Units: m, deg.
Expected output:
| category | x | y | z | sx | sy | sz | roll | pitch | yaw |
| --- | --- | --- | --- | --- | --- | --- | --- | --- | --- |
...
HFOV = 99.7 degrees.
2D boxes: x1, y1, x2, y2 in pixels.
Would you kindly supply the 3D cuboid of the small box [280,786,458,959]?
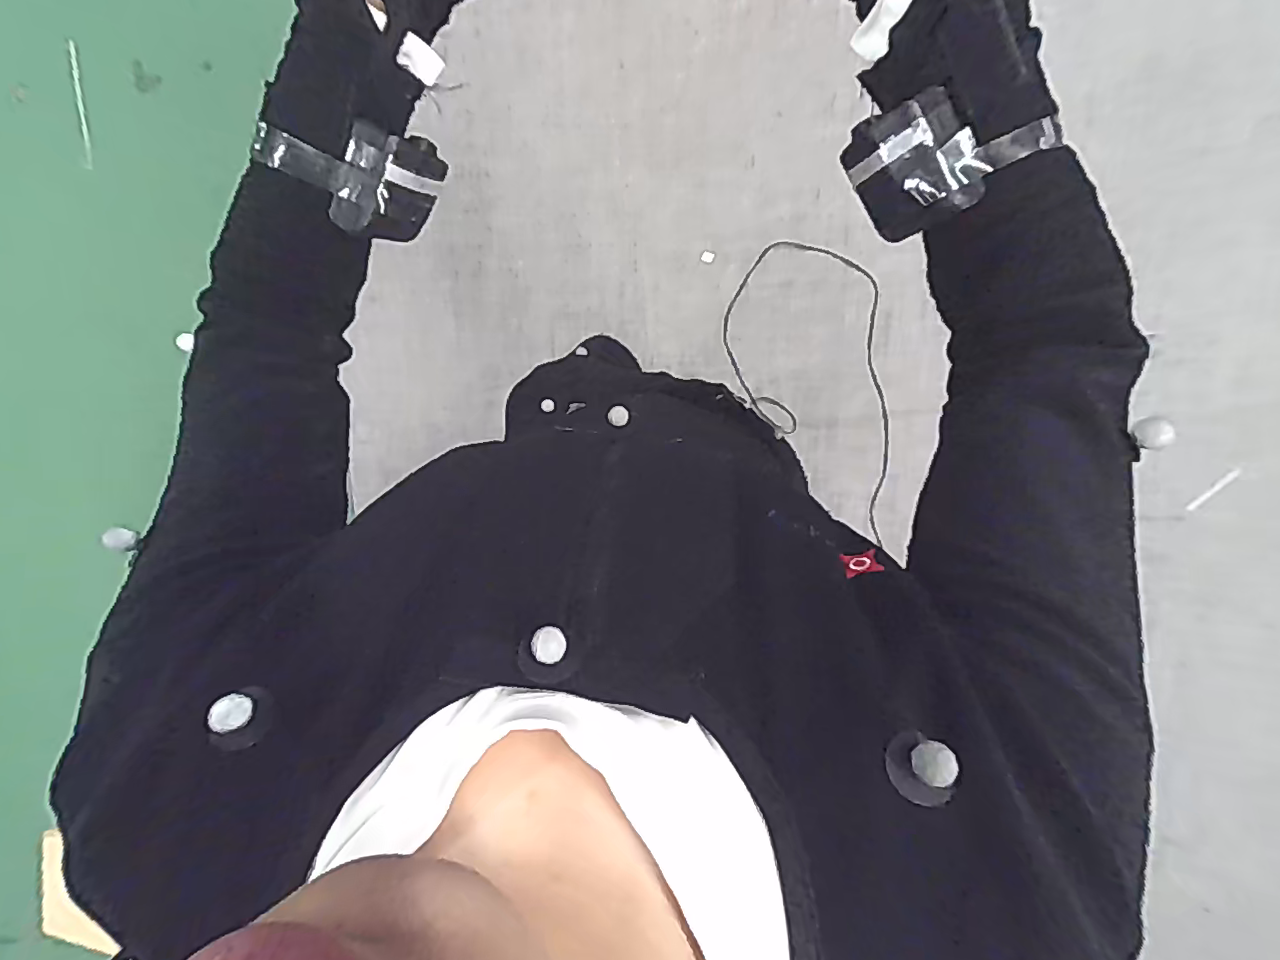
| category | x | y | z | sx | sy | sz | roll | pitch | yaw |
| --- | --- | --- | --- | --- | --- | --- | --- | --- | --- |
| small box | -0.385 | 0.587 | 0.796 | 0.168 | 0.176 | 0.179 | 1 | 102 | 7 |
